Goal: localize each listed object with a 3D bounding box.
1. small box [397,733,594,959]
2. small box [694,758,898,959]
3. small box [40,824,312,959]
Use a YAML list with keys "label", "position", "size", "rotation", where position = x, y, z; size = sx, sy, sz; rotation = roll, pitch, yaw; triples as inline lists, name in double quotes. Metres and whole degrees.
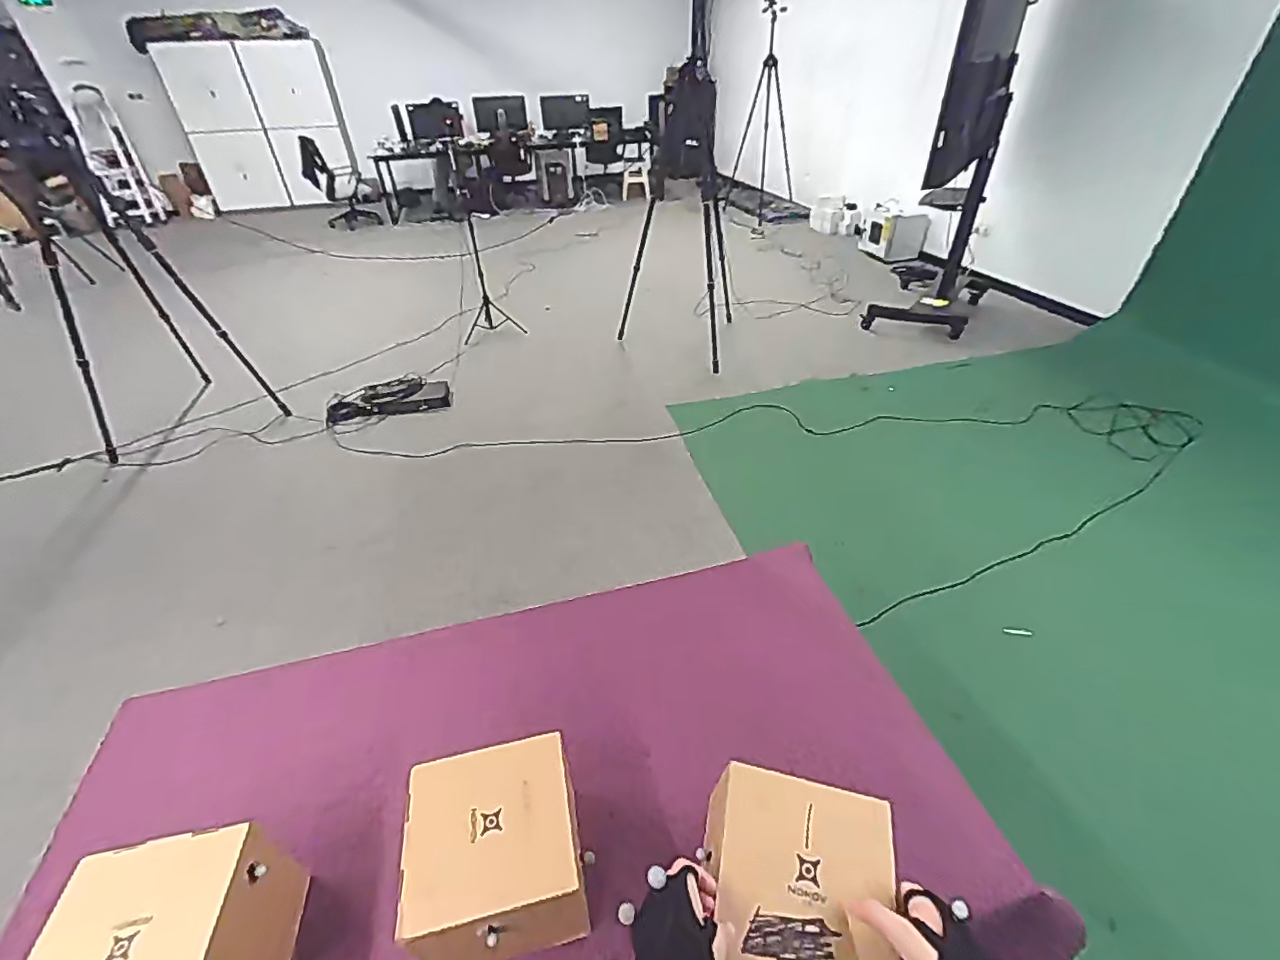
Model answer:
- label: "small box"
  position: [-0.157, 0.432, 0.629]
  size: [0.179, 0.176, 0.168]
  rotation: [-9, 38, -9]
- label: "small box"
  position: [0.153, 0.427, 0.566]
  size: [0.168, 0.176, 0.179]
  rotation: [11, 47, 8]
- label: "small box"
  position: [-0.477, 0.502, 0.563]
  size: [0.168, 0.176, 0.179]
  rotation: [-9, 37, -7]
